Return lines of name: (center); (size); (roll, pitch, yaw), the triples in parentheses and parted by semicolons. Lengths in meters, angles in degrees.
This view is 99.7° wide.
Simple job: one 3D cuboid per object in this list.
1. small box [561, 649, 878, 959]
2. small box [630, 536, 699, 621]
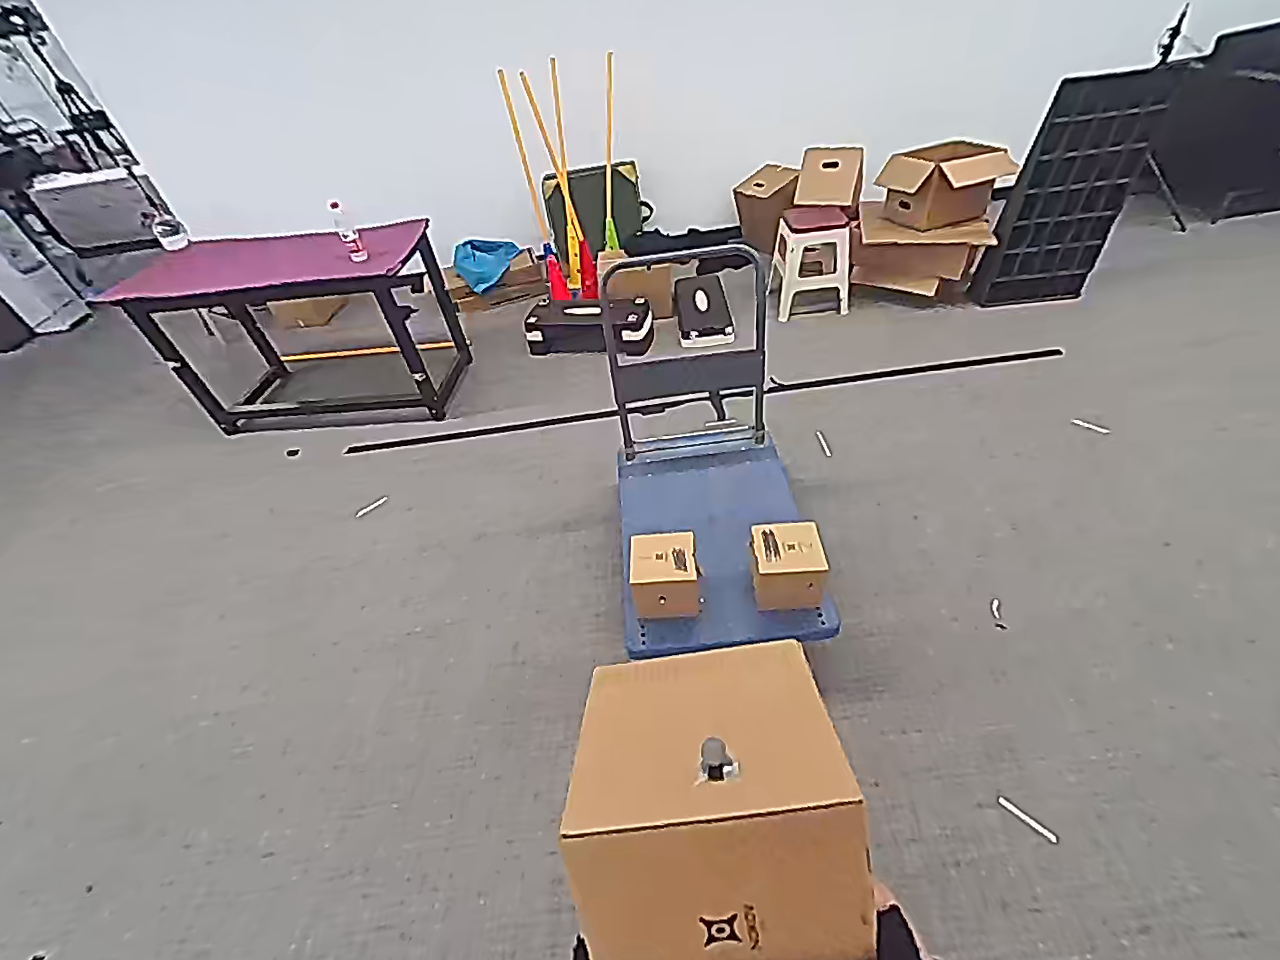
small box: (0.055, 0.249, 0.402); (0.179, 0.168, 0.176); (-10, 14, 4)
small box: (0.072, 0.273, 1.493); (0.179, 0.176, 0.168); (-5, 43, 6)
